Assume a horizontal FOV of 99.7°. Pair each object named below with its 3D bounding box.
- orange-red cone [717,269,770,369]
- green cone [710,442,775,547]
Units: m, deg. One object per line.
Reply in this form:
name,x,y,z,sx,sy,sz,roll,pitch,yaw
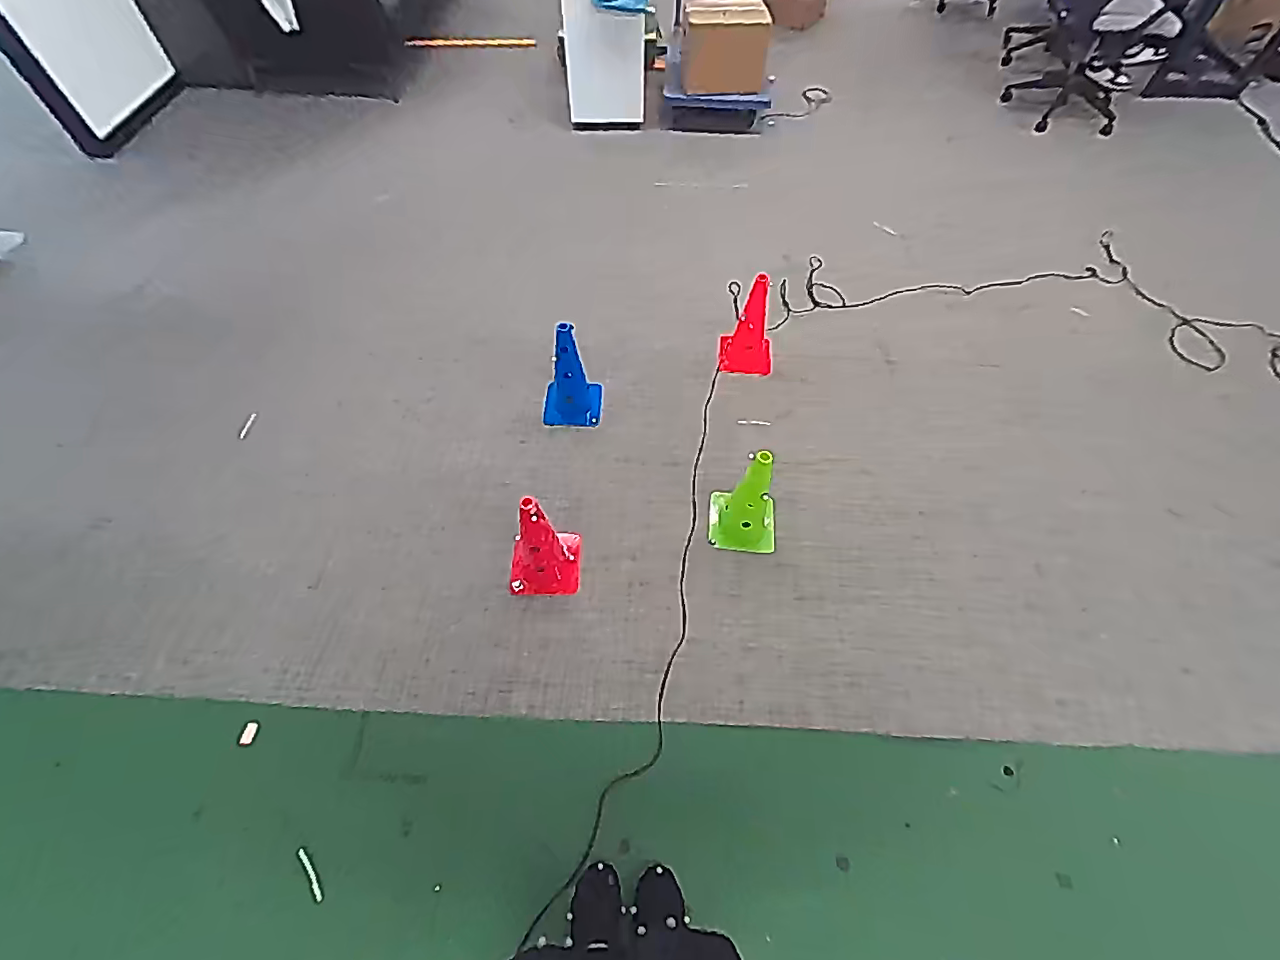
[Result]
orange-red cone,0.397,-0.592,1.934,0.198,0.360,0.199,6,59,4
green cone,0.321,0.019,1.539,0.200,0.368,0.202,5,57,2
